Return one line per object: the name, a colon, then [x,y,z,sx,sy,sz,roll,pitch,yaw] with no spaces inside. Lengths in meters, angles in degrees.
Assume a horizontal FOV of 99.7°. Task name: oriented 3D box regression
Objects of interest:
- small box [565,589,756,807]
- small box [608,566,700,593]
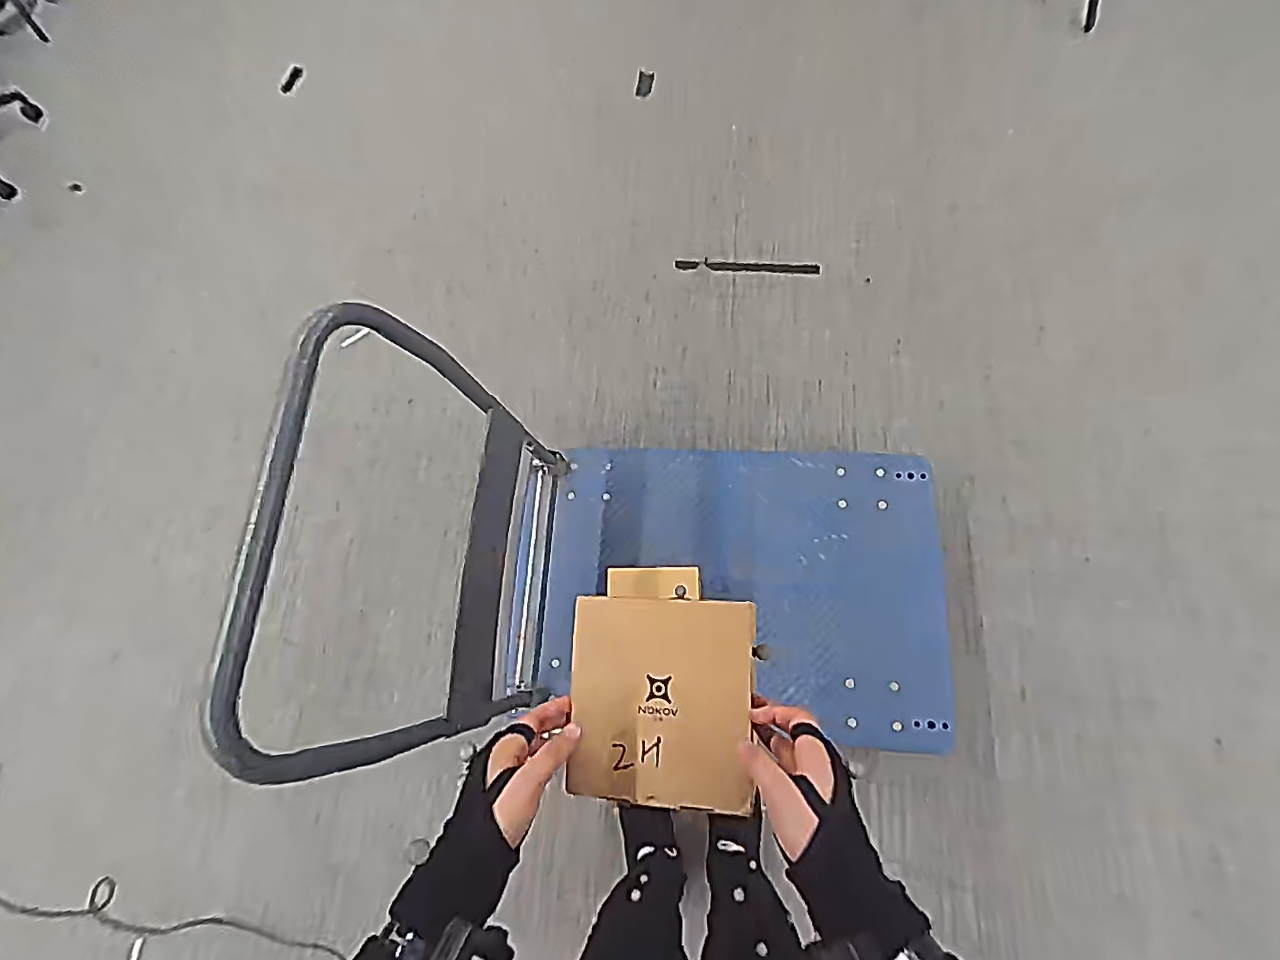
small box: [0.033,0.208,0.563,0.168,0.176,0.179,-1,77,14]
small box: [0.031,0.262,1.020,0.168,0.176,0.179,-2,74,6]
